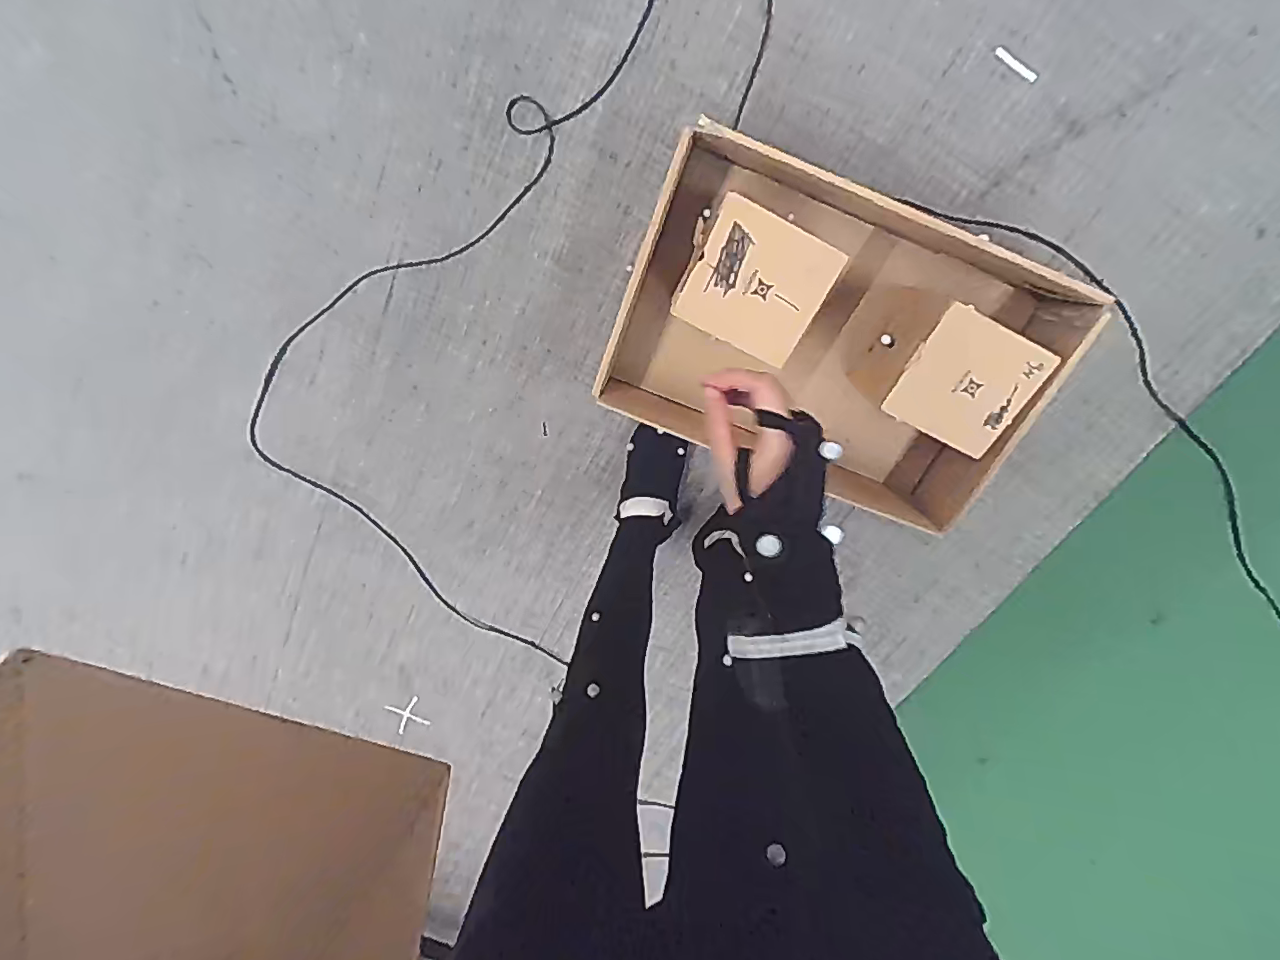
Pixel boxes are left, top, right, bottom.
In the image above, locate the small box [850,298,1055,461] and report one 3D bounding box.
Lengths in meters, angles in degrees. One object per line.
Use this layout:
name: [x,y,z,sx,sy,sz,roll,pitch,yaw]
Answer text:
small box: [0.449,-0.159,0.815,0.179,0.176,0.168,27,114,-7]
